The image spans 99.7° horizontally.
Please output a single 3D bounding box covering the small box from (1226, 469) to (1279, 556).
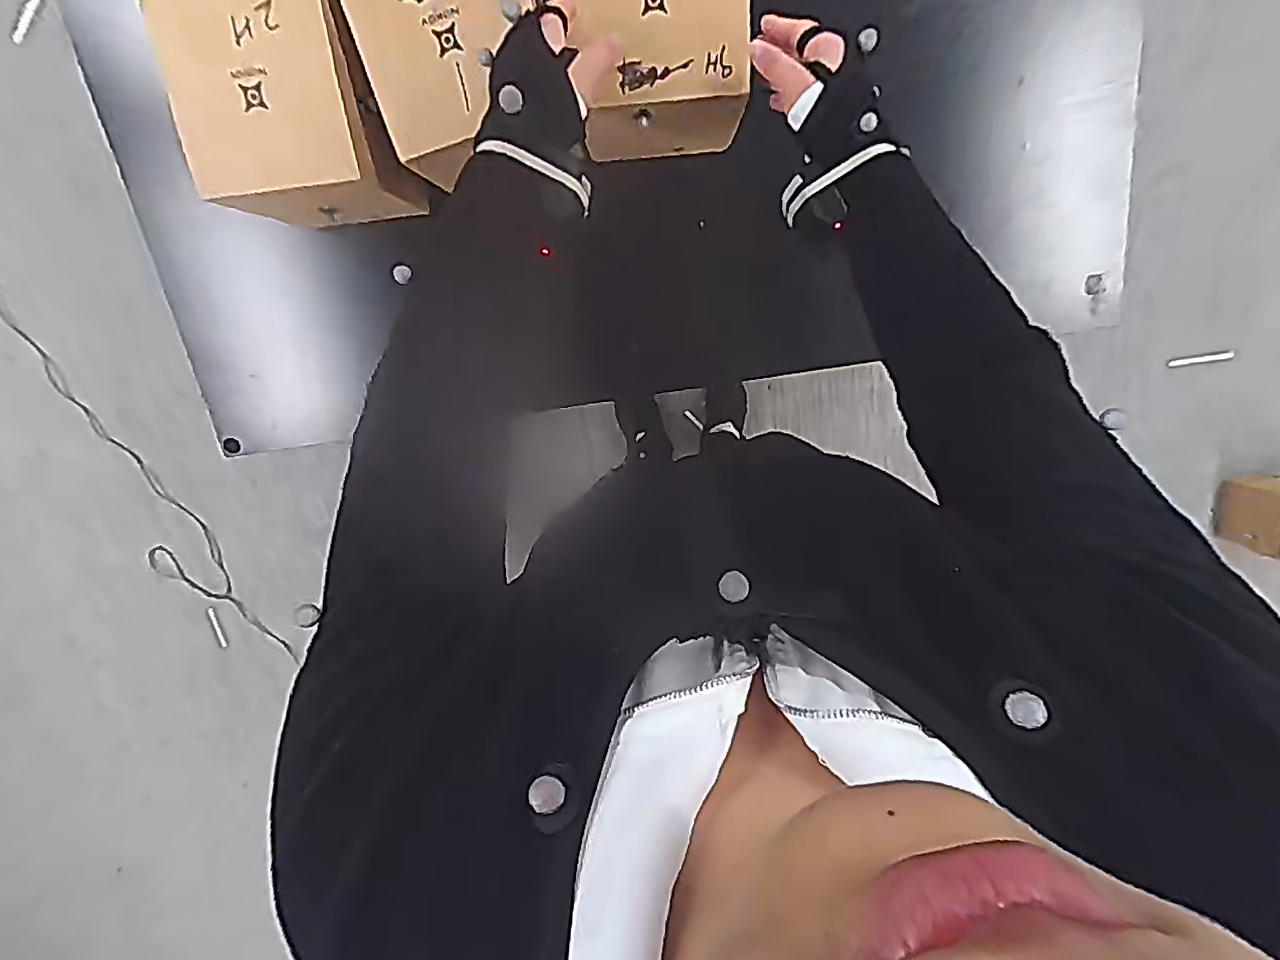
[{"bbox_3d":[1.668,0.080,1.380,0.168,0.176,0.179,-9,105,4],"label":"small box"}]

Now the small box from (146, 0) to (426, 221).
[{"bbox_3d":[-0.352,-0.388,0.579,0.168,0.176,0.179,-6,105,3],"label":"small box"}]
